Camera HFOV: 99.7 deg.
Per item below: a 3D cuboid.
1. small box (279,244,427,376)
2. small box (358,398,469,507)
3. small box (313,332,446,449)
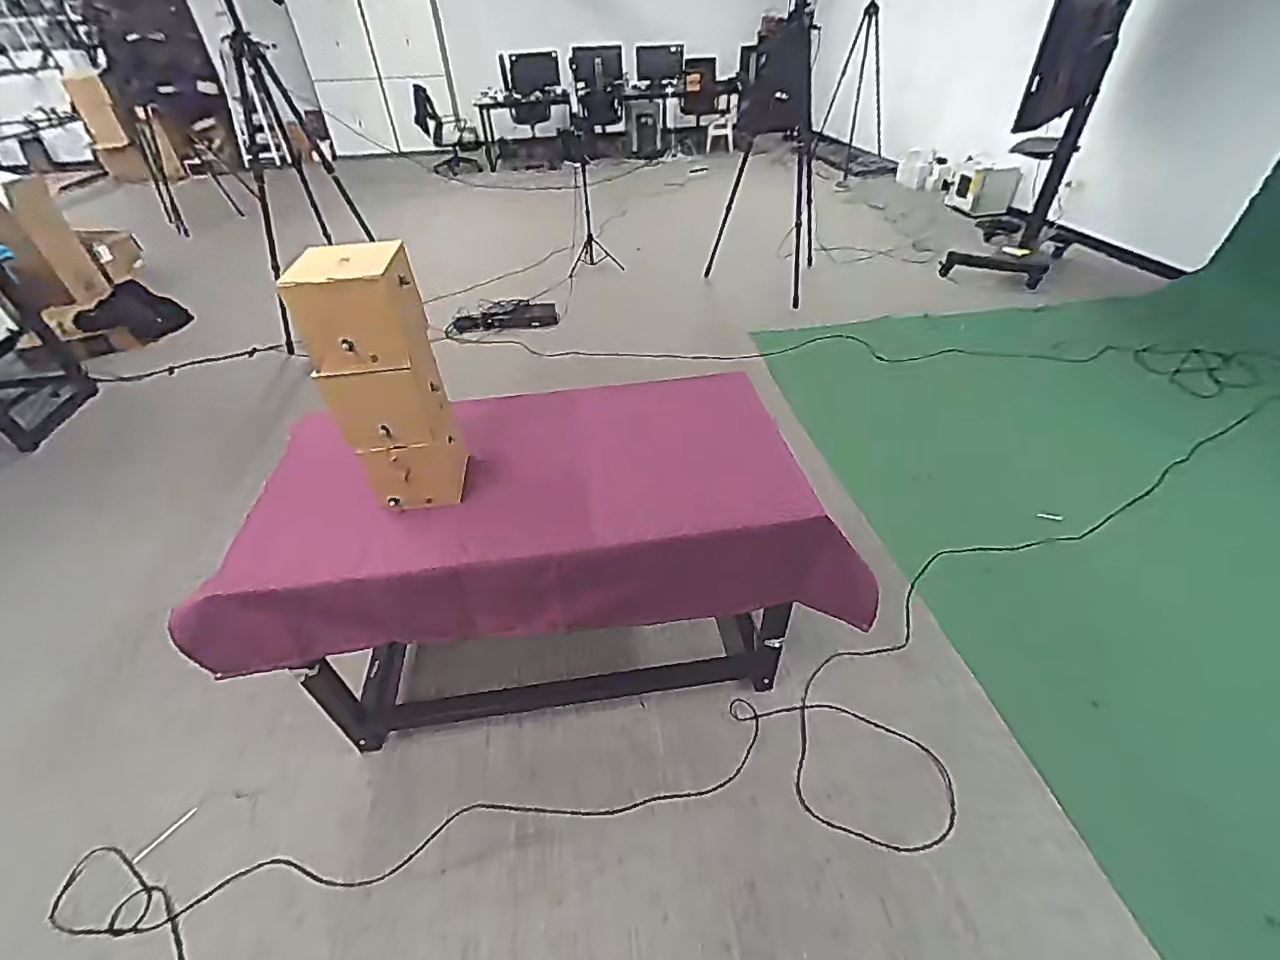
[{"bbox_3d":[-0.495,-0.305,0.968,0.168,0.176,0.179,-7,42,-4],"label":"small box"},{"bbox_3d":[-0.481,-0.055,1.180,0.168,0.176,0.179,-7,40,-5],"label":"small box"},{"bbox_3d":[-0.498,-0.177,1.070,0.179,0.176,0.168,-5,40,-4],"label":"small box"}]
